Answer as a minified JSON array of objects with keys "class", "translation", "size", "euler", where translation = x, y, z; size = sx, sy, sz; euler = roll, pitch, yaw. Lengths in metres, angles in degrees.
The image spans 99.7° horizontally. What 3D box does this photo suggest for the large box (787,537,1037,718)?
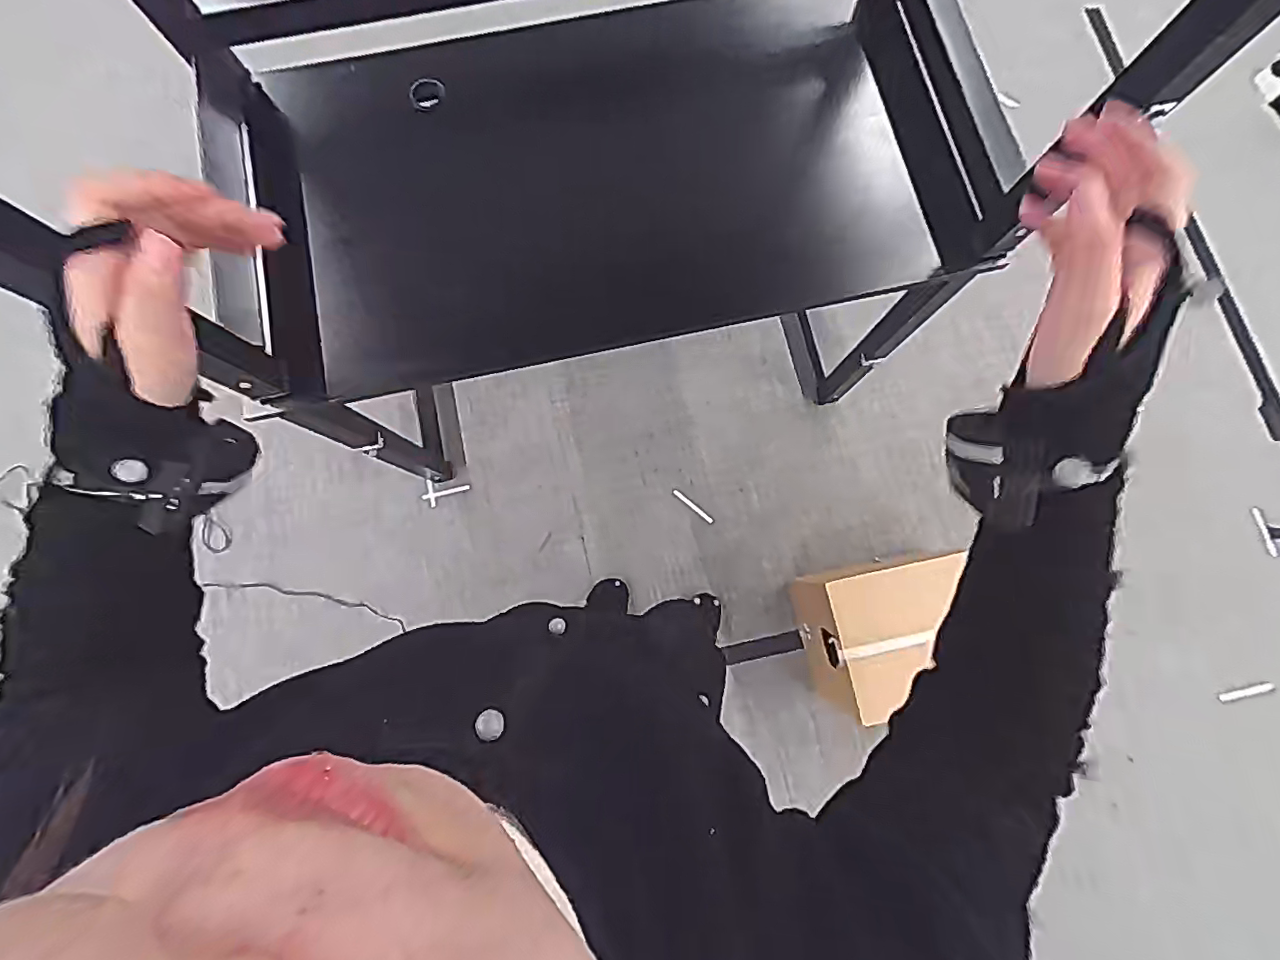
[{"class":"large box","translation":[0.629,0.343,1.324],"size":[0.408,0.320,0.320],"euler":[-12,82,-3]}]
